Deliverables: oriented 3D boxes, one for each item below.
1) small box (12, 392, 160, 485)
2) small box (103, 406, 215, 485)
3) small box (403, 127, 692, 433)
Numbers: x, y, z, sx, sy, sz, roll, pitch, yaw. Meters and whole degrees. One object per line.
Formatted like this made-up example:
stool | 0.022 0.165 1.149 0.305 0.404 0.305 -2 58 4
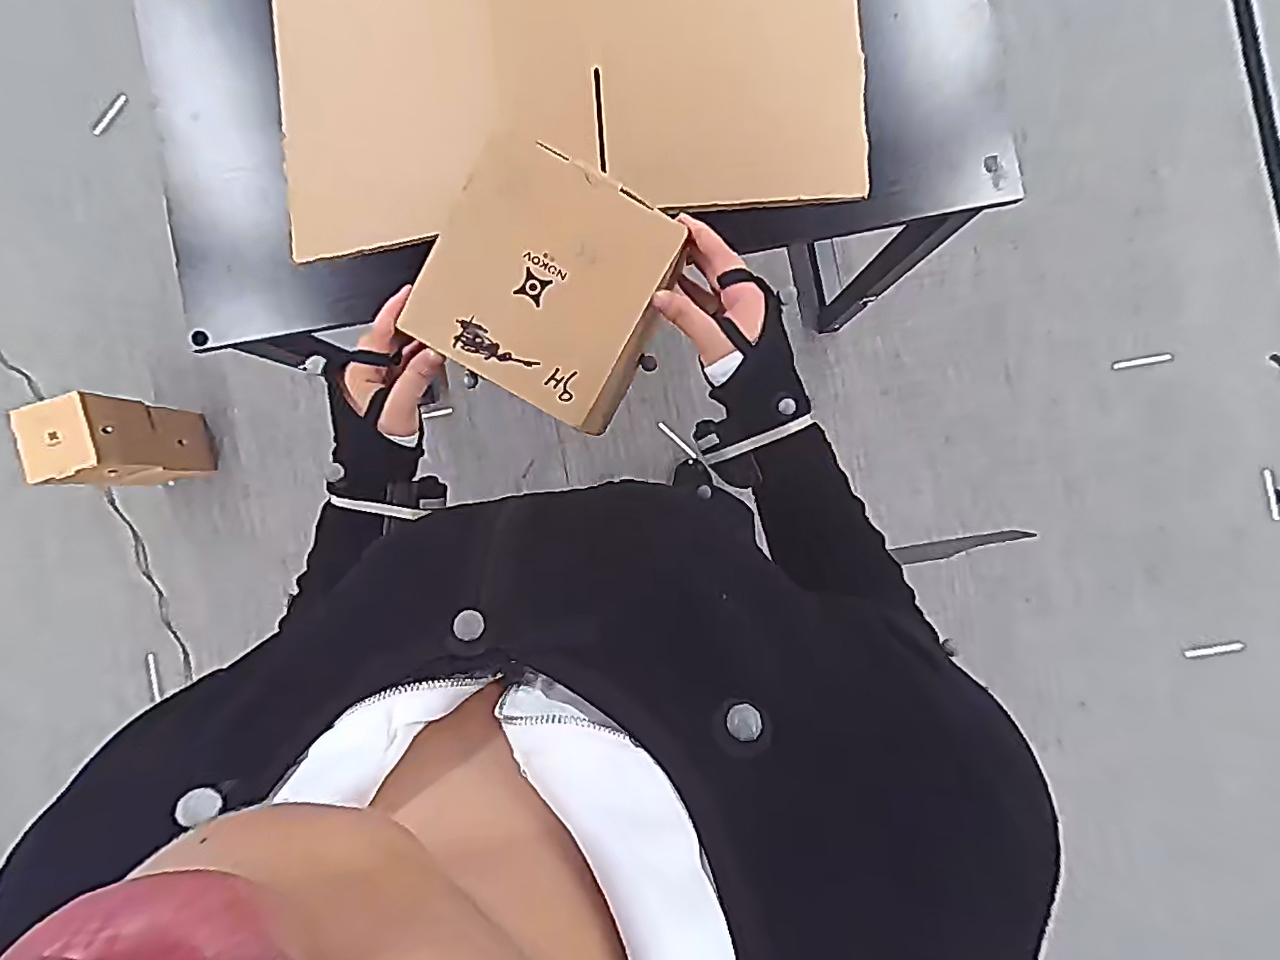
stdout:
small box | -1.305 -0.093 1.289 0.168 0.176 0.179 -17 88 0
small box | -1.298 -0.086 1.451 0.168 0.176 0.179 -14 90 1
small box | -0.071 -0.158 0.492 0.168 0.176 0.179 30 93 1
